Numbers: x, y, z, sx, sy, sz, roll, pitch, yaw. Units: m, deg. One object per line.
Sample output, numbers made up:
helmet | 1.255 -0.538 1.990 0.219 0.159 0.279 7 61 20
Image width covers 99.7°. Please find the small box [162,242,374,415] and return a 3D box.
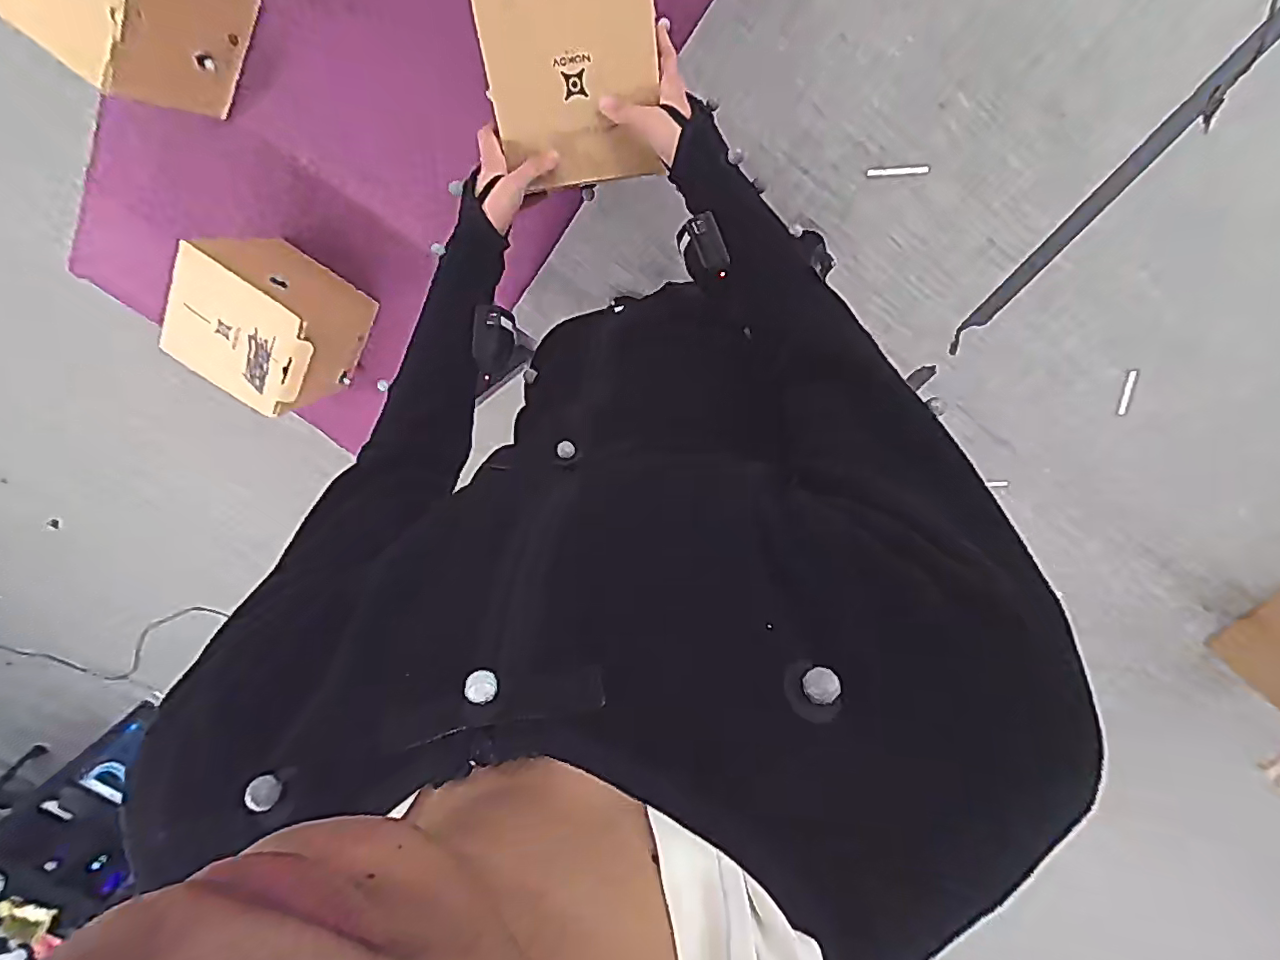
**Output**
small box | -0.528 -0.228 0.787 0.179 0.176 0.168 33 115 -6

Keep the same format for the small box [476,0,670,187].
small box | -0.058 -0.421 0.579 0.168 0.176 0.179 -5 119 5

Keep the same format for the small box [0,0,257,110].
small box | -0.608 -0.575 0.633 0.179 0.176 0.168 36 115 -10
